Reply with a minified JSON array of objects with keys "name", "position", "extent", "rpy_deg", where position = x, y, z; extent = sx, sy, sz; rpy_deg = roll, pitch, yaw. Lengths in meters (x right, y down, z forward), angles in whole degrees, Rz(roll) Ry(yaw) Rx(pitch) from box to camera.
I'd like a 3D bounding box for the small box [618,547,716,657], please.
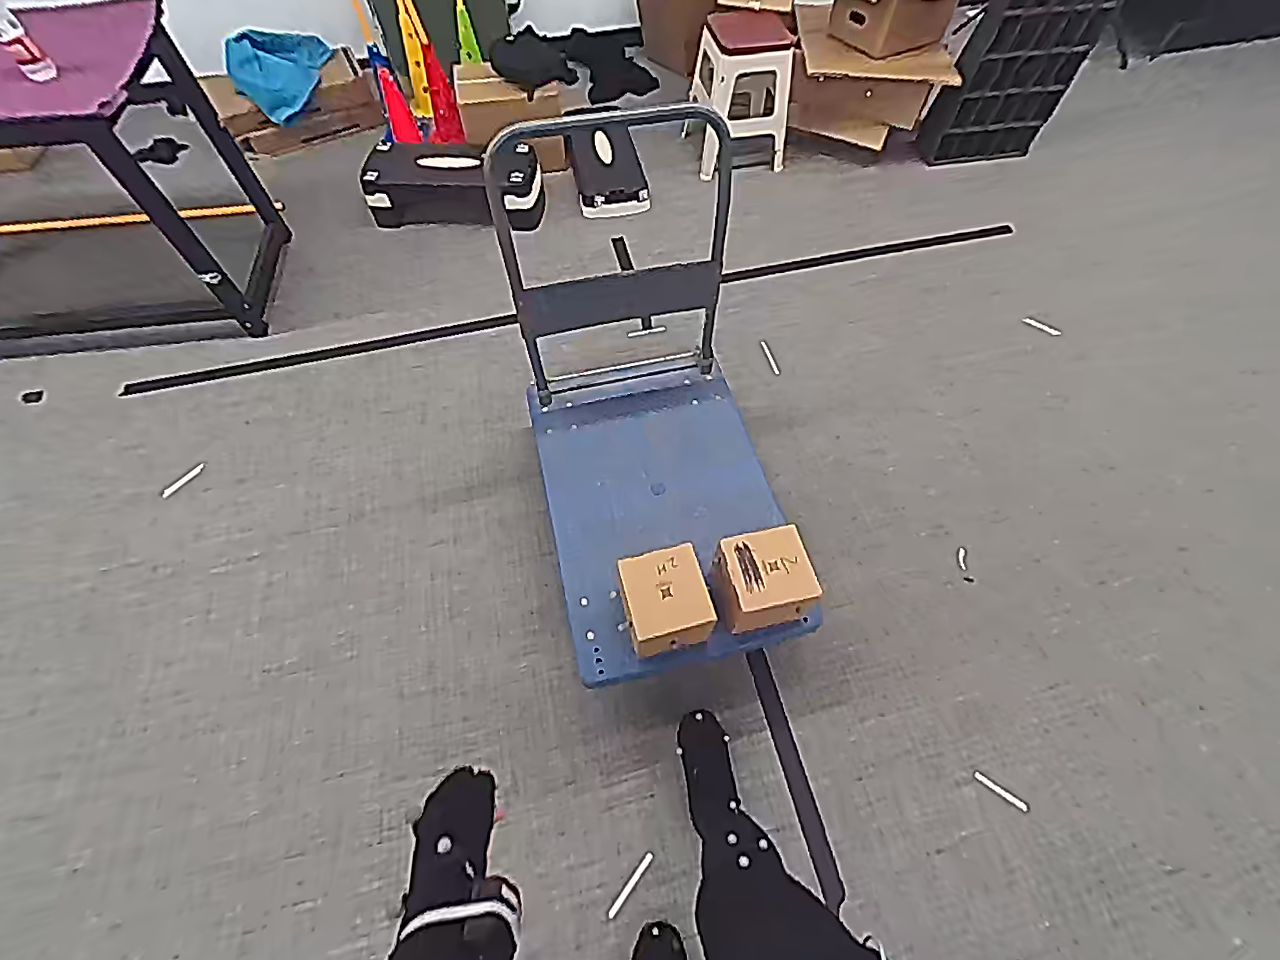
[{"name":"small box","position":[0.055,0.272,1.172],"extent":[0.168,0.176,0.179],"rpy_deg":[-13,60,-8]}]
